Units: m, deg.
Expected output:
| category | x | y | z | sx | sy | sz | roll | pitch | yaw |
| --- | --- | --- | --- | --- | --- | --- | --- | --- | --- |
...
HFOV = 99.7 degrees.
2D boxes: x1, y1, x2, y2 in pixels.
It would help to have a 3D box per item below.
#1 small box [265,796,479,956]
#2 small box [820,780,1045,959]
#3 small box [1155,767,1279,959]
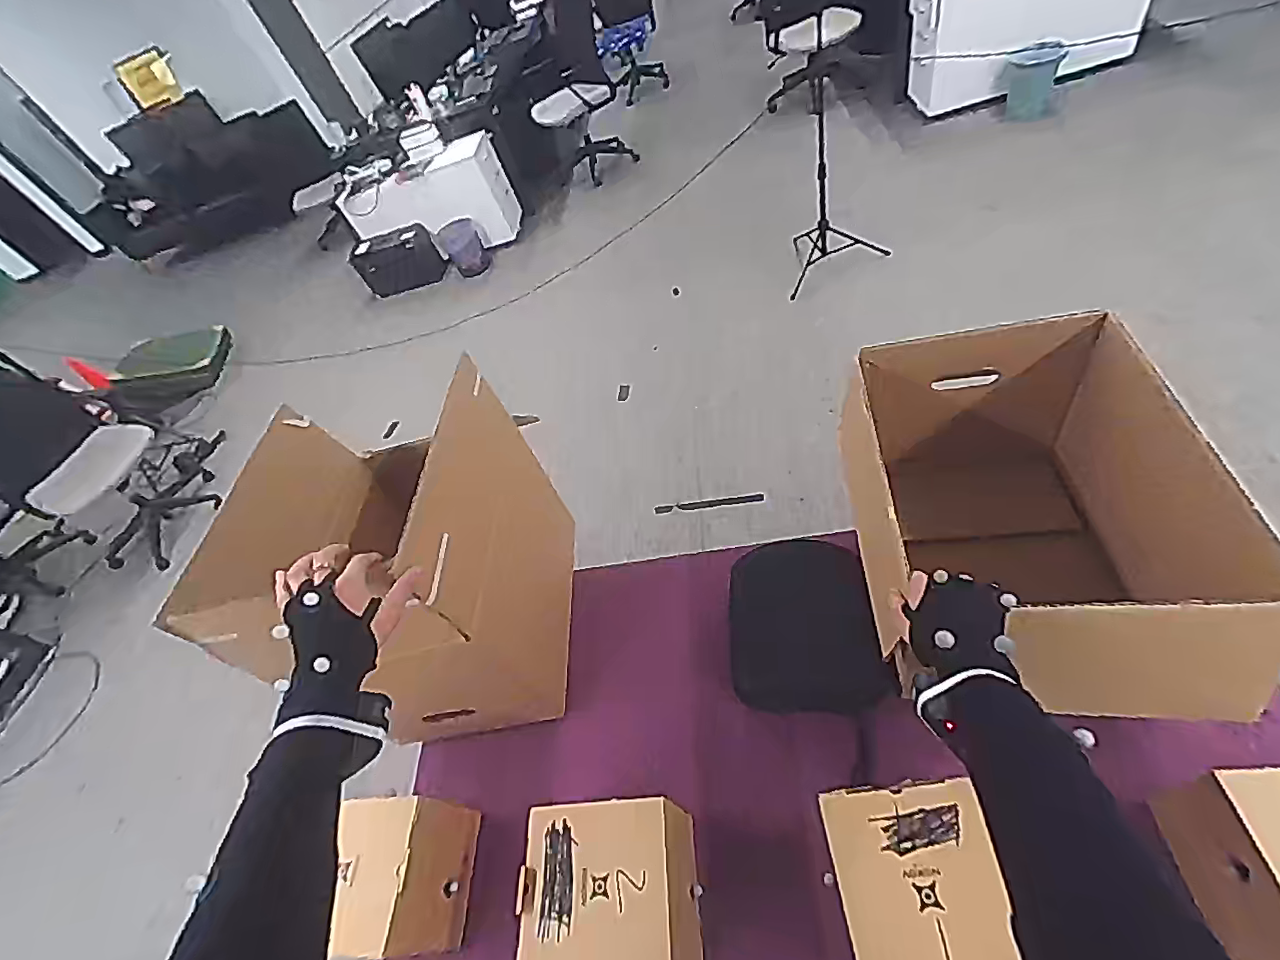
| category | x | y | z | sx | sy | sz | roll | pitch | yaw |
| --- | --- | --- | --- | --- | --- | --- | --- | --- | --- |
| small box | -0.355 | 0.551 | 0.753 | 0.179 | 0.176 | 0.168 | -10 | 50 | 12 |
| small box | 0.299 | 0.446 | 0.586 | 0.168 | 0.176 | 0.179 | -13 | 50 | 11 |
| small box | 0.644 | 0.381 | 0.502 | 0.168 | 0.176 | 0.179 | -10 | 49 | 15 |
